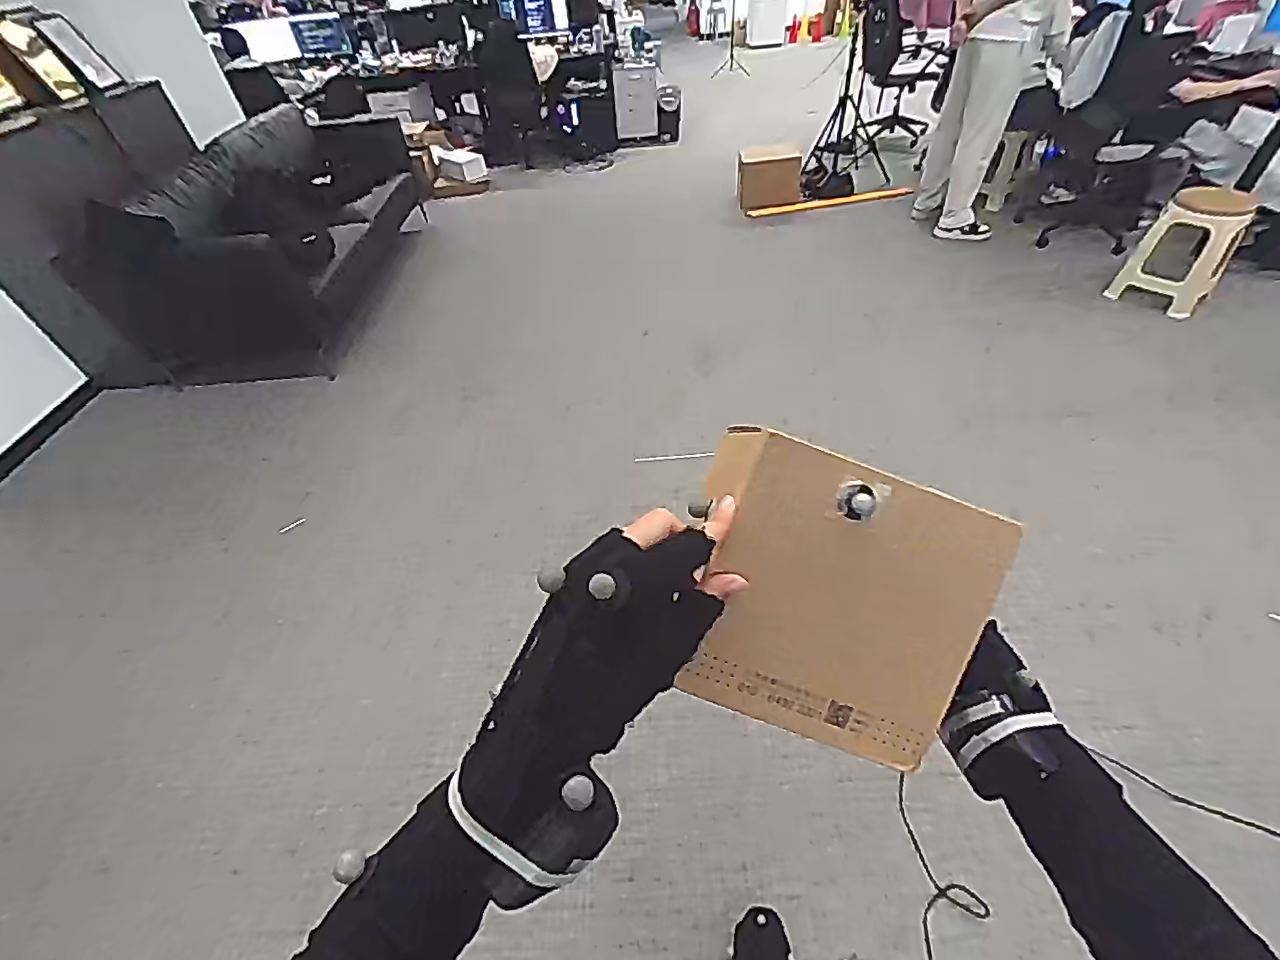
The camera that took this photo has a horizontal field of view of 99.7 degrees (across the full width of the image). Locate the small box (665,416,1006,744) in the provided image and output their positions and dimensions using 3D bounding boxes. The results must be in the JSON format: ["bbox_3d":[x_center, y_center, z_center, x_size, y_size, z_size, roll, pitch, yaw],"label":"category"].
[{"bbox_3d":[0.122,0.062,0.418,0.168,0.176,0.179,20,4,0],"label":"small box"}]
